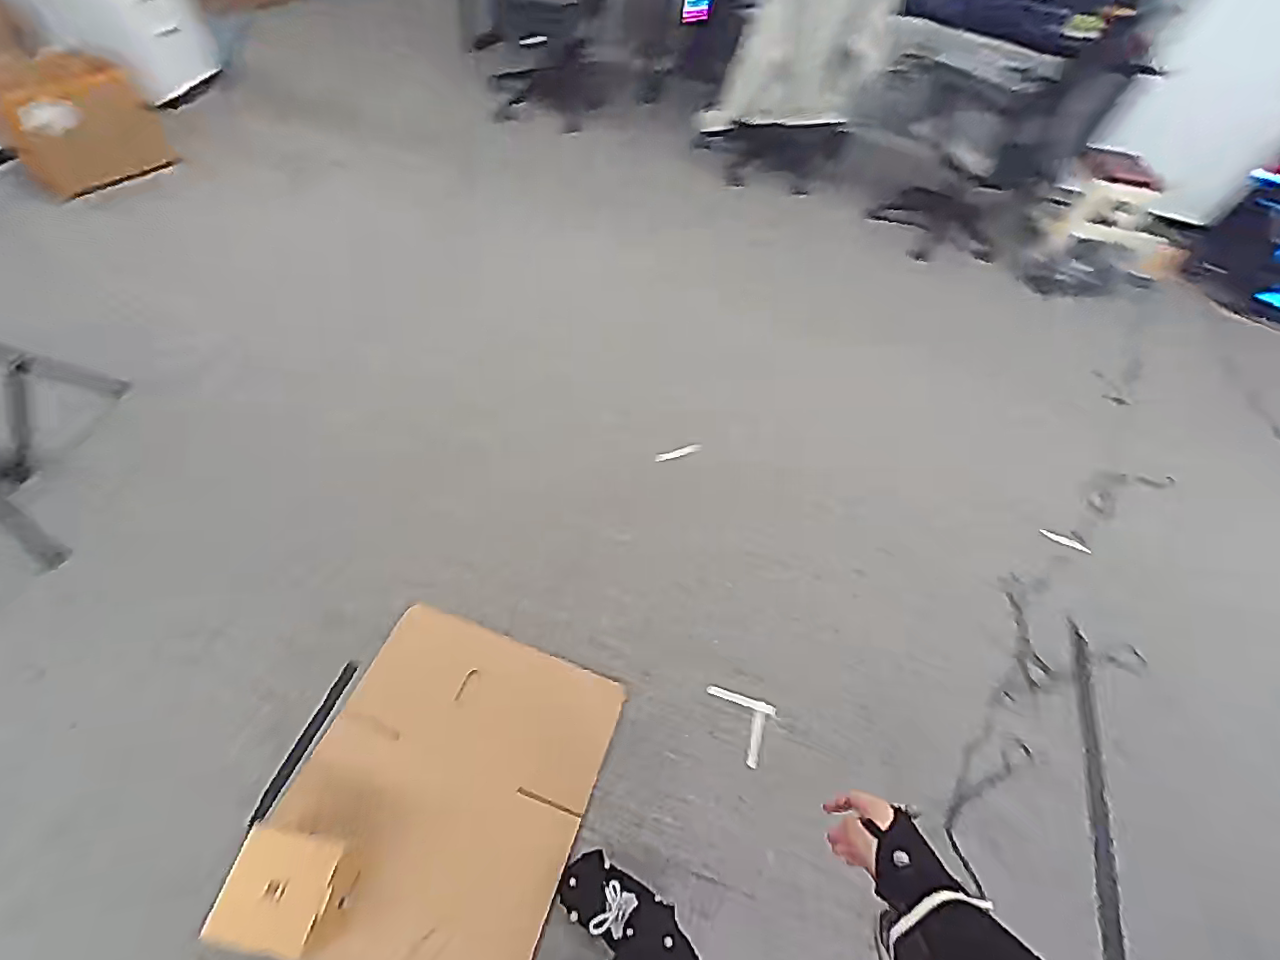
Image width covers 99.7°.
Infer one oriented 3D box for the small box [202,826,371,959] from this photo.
[{"bbox_3d":[-0.639,0.757,1.005,0.179,0.176,0.168,11,56,-1],"label":"small box"}]
